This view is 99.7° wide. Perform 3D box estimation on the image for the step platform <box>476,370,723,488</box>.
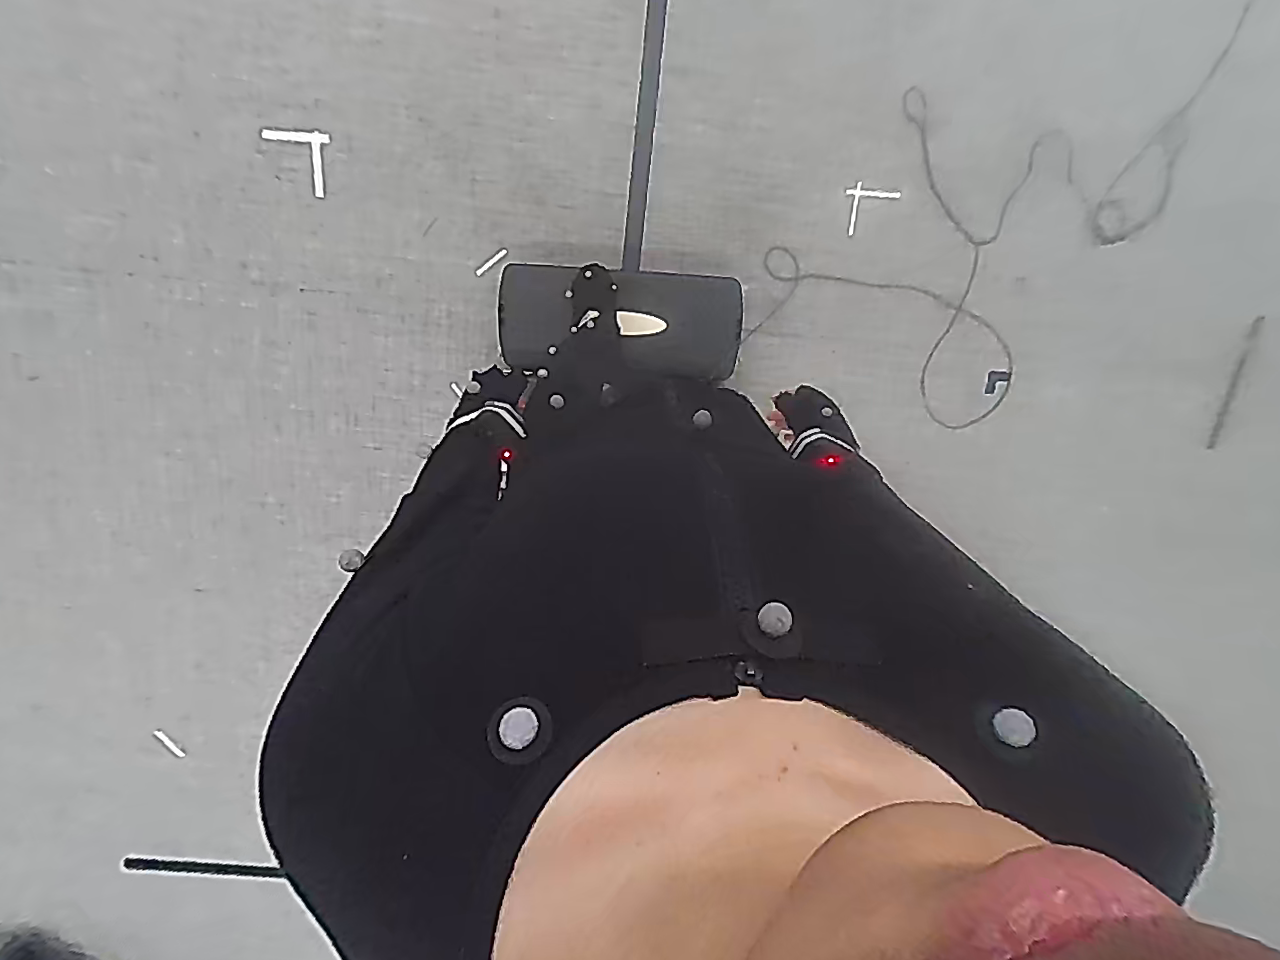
[{"bbox_3d":[-0.110,-0.146,1.532,0.684,0.204,0.286,4,103,-1],"label":"step platform"}]
